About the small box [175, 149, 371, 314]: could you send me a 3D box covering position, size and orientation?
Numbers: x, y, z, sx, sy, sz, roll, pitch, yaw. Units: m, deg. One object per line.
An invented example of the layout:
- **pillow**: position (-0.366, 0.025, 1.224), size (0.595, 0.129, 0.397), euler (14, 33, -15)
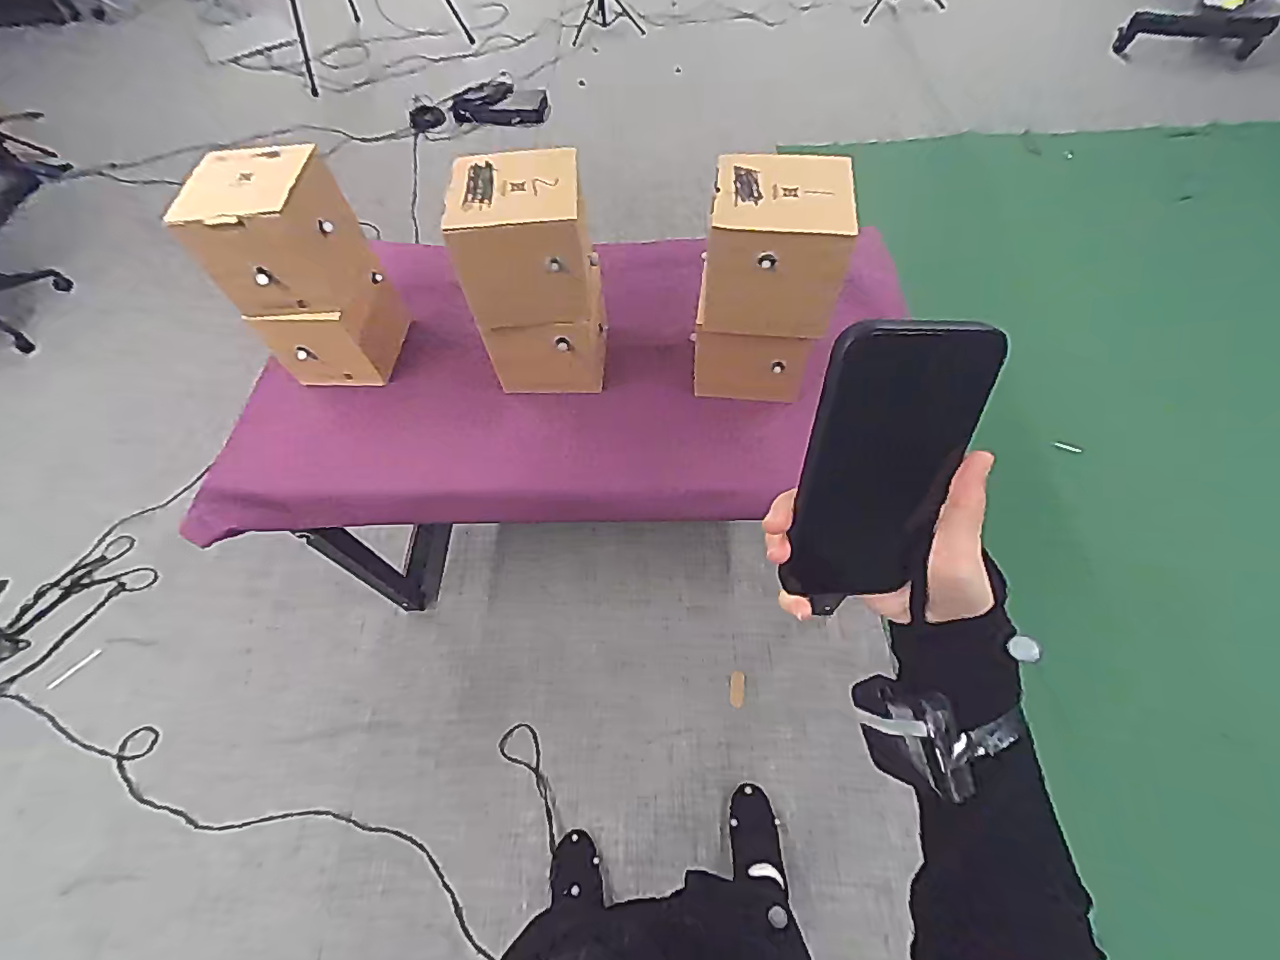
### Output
- **small box**: position (-0.547, -0.374, 0.838), size (0.168, 0.176, 0.179), euler (-3, 60, 2)

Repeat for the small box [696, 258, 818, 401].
- **small box**: position (0.190, -0.247, 0.899), size (0.179, 0.176, 0.168), euler (6, 59, 9)

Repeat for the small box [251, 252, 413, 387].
- **small box**: position (-0.537, -0.283, 0.974), size (0.168, 0.176, 0.179), euler (1, 59, 5)

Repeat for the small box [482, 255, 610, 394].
- **small box**: position (-0.149, -0.263, 0.932), size (0.179, 0.176, 0.168), euler (0, 59, 5)

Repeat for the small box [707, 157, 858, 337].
- **small box**: position (0.187, -0.318, 0.751), size (0.179, 0.176, 0.168), euler (6, 59, 7)
